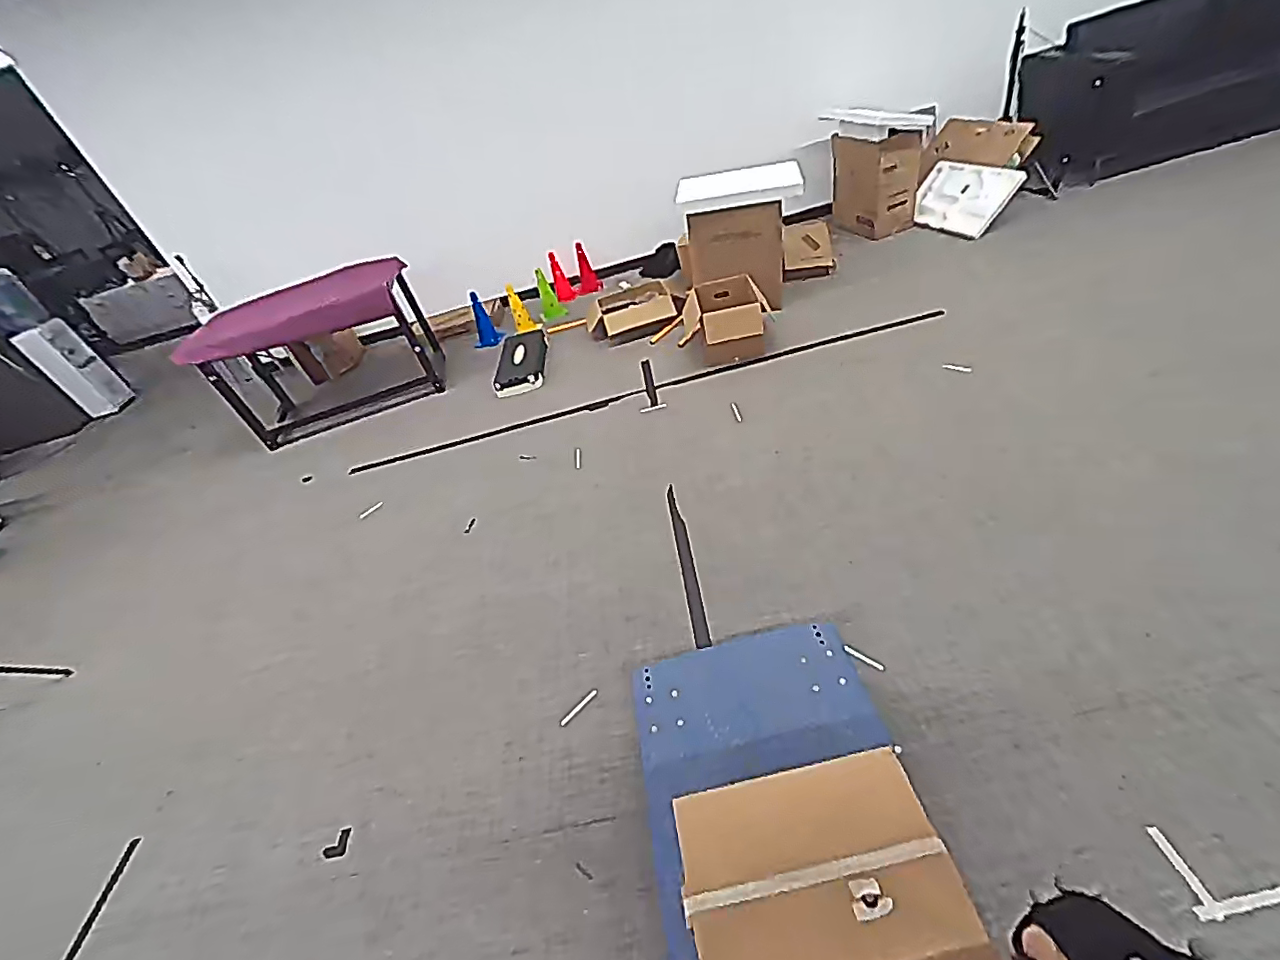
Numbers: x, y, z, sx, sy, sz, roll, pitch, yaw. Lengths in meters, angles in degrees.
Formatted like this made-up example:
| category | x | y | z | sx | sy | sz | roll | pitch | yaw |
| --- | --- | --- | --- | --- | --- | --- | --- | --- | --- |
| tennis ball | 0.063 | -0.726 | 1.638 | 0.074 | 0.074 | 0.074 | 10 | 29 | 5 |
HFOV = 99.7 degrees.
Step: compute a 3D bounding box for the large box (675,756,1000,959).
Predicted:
| category | x | y | z | sx | sy | sz | roll | pitch | yaw |
| --- | --- | --- | --- | --- | --- | --- | --- | --- | --- |
| large box | 0.302 | 0.734 | 0.911 | 0.408 | 0.320 | 0.320 | -15 | 39 | 1 |
